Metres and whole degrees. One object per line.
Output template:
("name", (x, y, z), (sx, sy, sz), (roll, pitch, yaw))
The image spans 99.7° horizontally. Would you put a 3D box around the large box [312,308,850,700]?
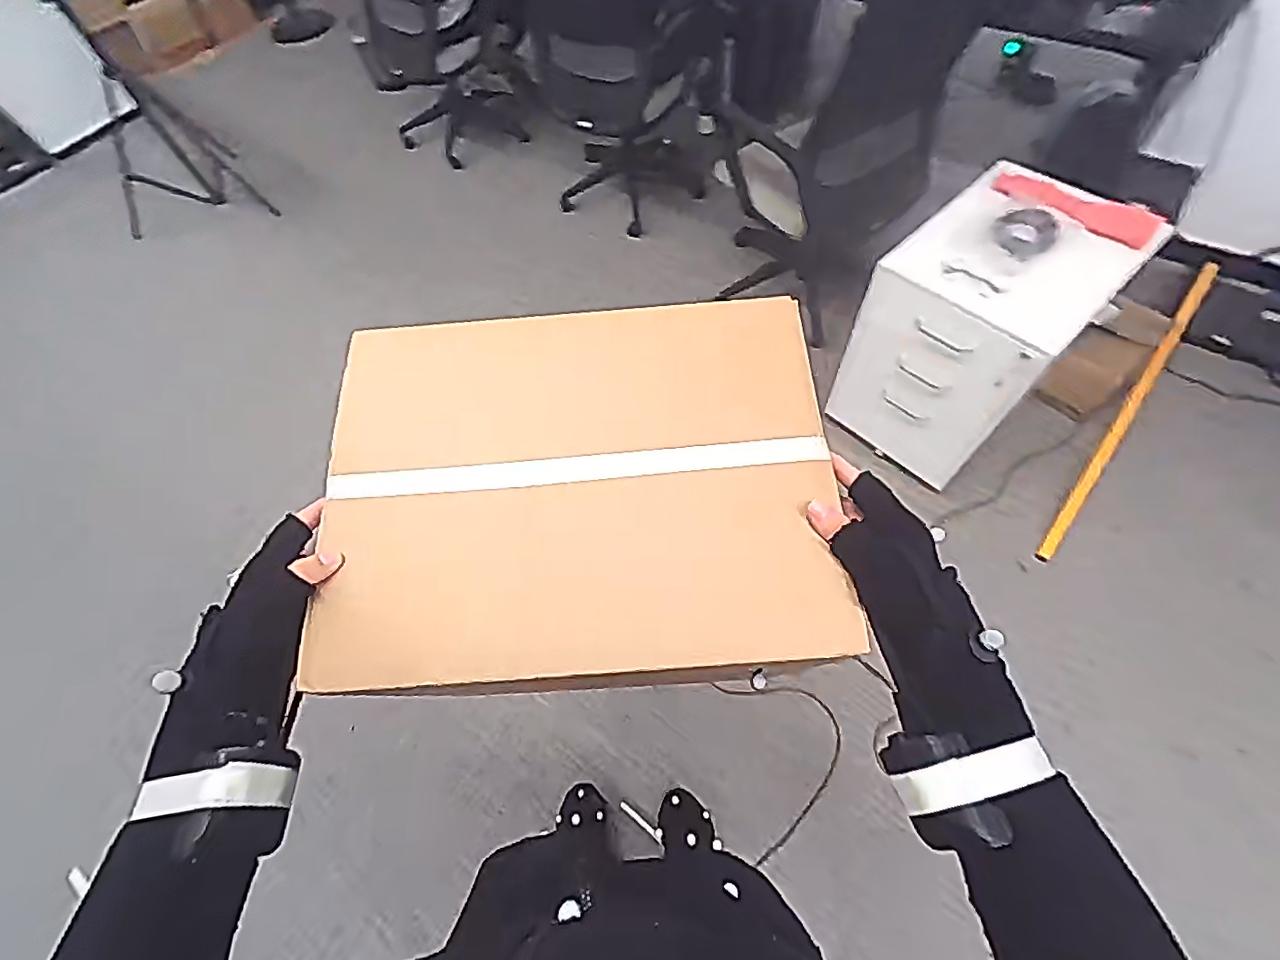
("large box", (-0.048, 0.052, 0.584), (0.408, 0.320, 0.320), (-5, 68, 0))
